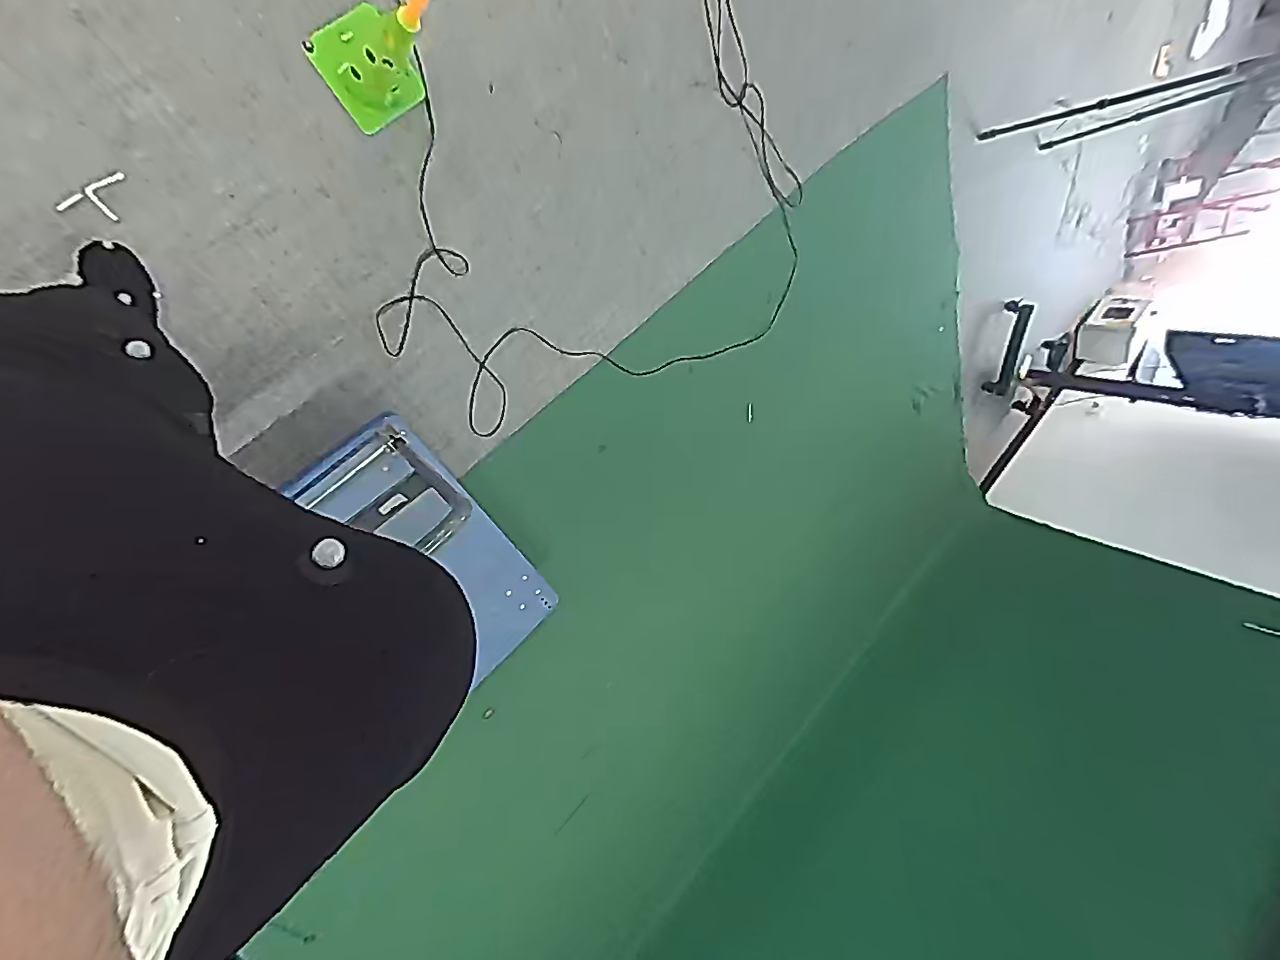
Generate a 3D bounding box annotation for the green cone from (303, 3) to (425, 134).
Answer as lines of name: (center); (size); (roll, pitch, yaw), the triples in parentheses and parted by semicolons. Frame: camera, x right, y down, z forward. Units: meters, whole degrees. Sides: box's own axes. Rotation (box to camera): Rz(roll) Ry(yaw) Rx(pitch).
green cone: (-0.530, -0.902, 1.131); (0.202, 0.368, 0.200); (-48, 131, -15)
